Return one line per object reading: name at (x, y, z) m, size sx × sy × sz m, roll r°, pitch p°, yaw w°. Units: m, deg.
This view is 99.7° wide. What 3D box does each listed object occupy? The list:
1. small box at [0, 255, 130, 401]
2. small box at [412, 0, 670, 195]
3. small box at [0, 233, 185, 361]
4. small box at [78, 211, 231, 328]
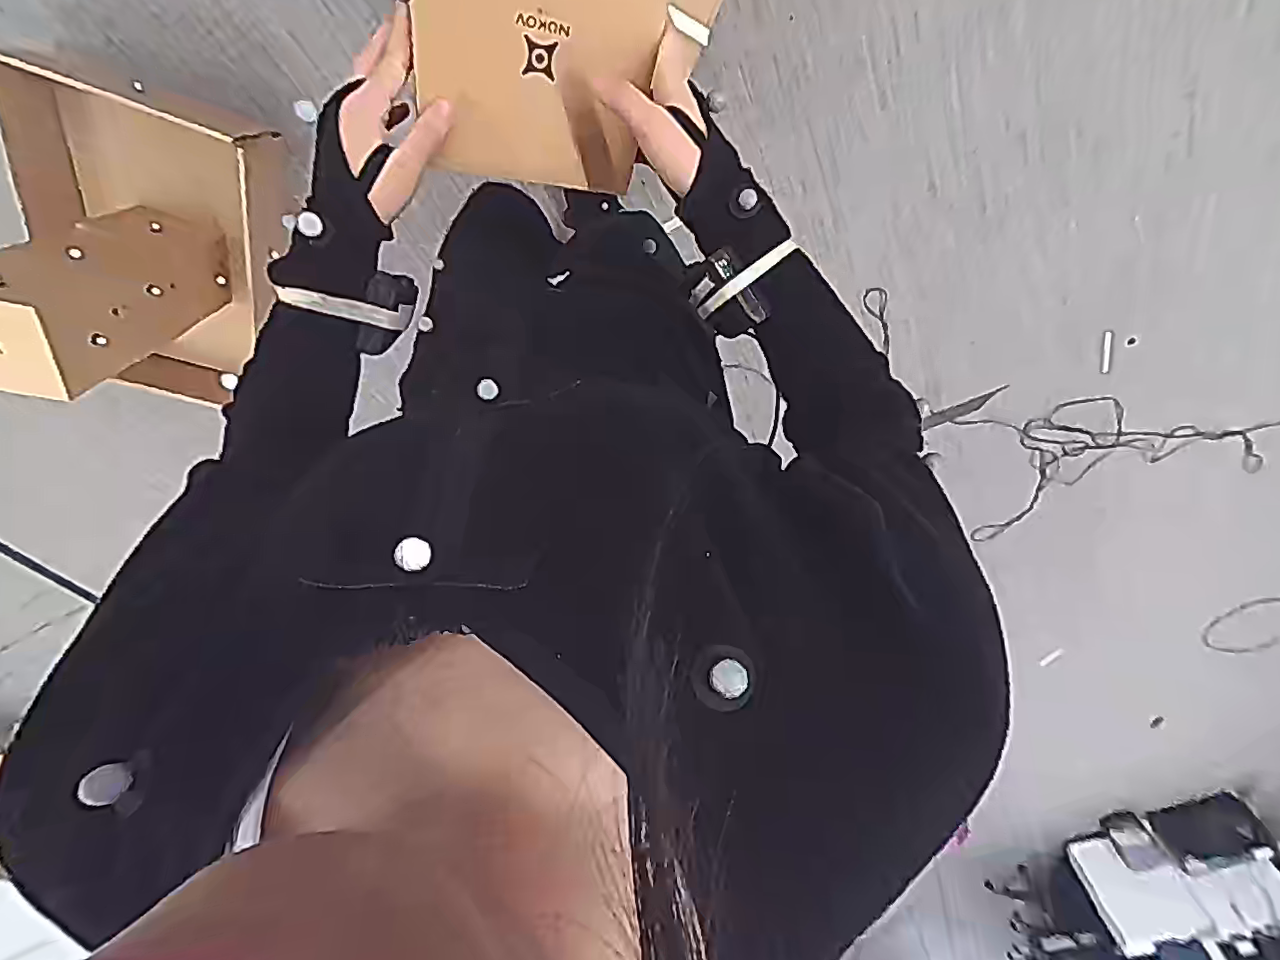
small box at (-1.004, -0.256, 0.897) m, size 0.179 × 0.176 × 0.168 m, roll 10°, pitch 125°, yaw -12°
small box at (-0.086, -0.358, 0.419) m, size 0.168 × 0.176 × 0.179 m, roll -2°, pitch 141°, yaw -20°
small box at (-1.017, -0.353, 1.032) m, size 0.179 × 0.176 × 0.168 m, roll 11°, pitch 125°, yaw -11°
small box at (-1.021, -0.455, 1.156) m, size 0.179 × 0.176 × 0.168 m, roll 14°, pitch 125°, yaw -15°
